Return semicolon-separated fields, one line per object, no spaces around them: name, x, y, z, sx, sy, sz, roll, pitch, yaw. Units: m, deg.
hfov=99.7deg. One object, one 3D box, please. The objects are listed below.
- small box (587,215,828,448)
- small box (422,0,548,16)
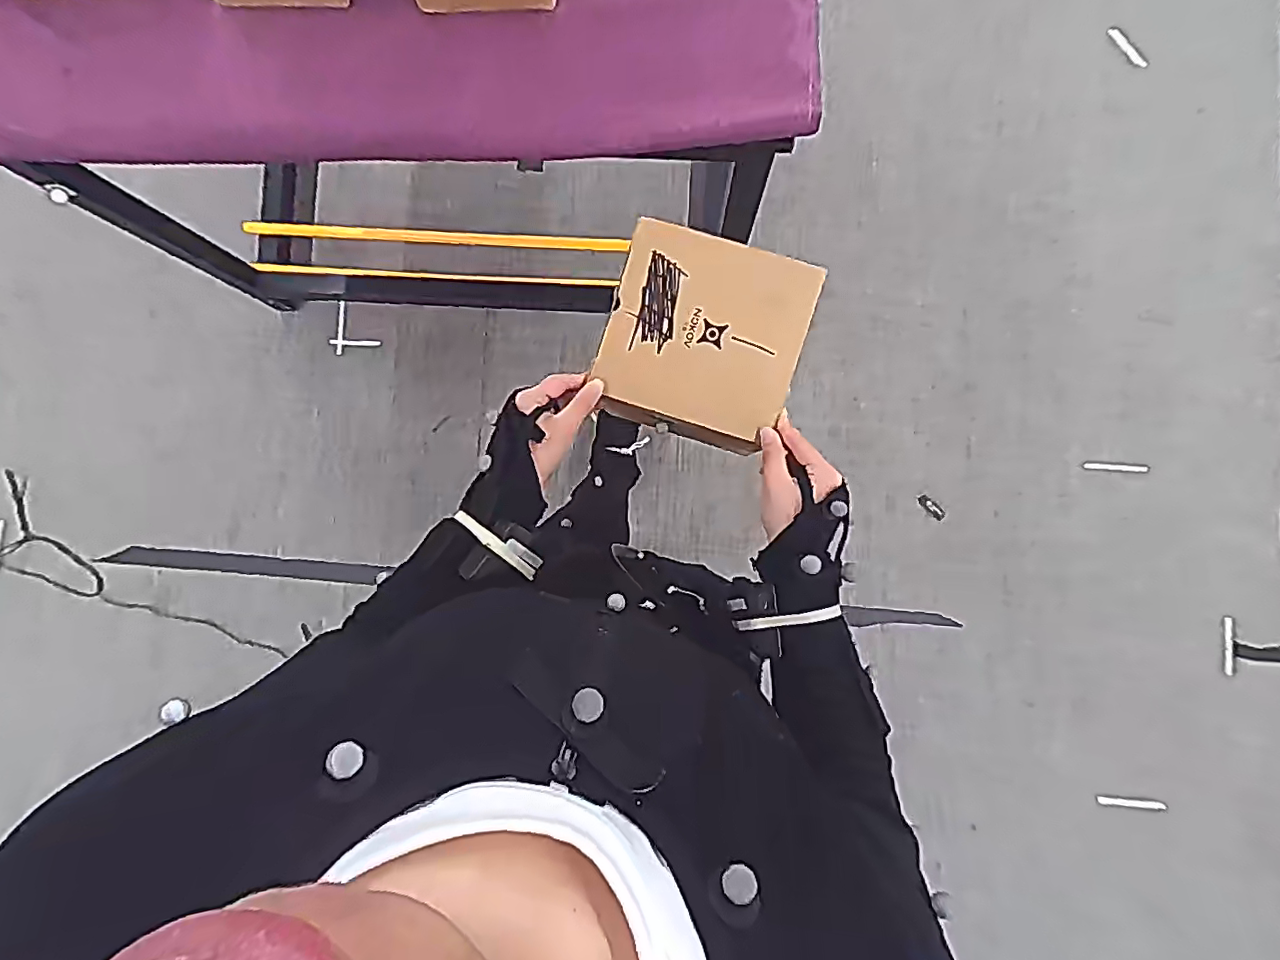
small box;0.064;-0.136;0.560;0.179;0.176;0.168;18;91;4
small box;-0.191;-0.680;0.618;0.179;0.176;0.168;1;86;3
